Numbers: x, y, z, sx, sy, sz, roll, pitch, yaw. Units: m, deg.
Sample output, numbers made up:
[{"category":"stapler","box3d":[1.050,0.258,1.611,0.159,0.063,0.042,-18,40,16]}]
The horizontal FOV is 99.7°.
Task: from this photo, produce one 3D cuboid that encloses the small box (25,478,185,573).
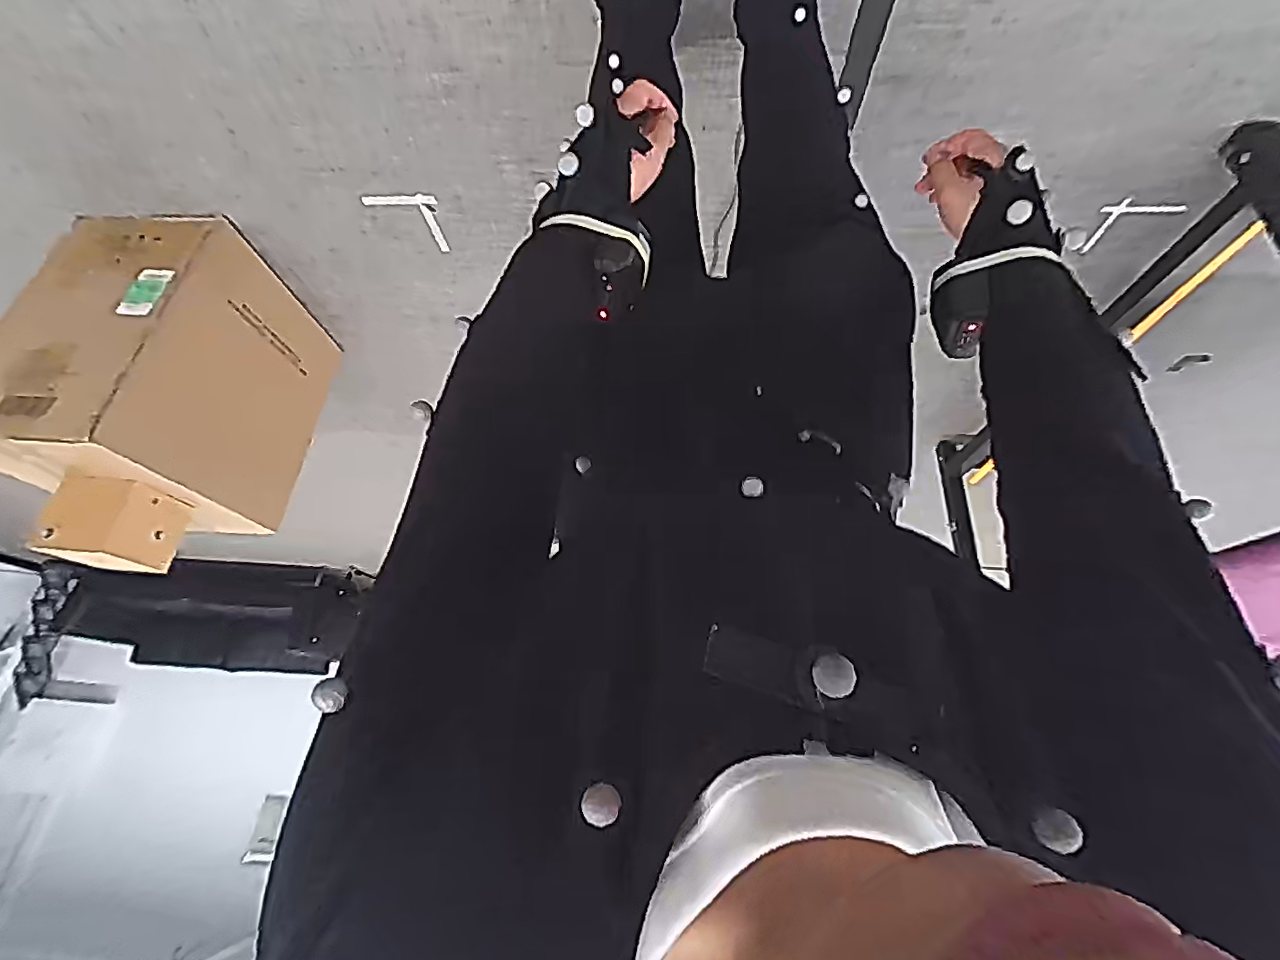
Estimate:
[{"category":"small box","box3d":[-1.176,0.103,1.211,0.179,0.176,0.168,4,156,4]}]
